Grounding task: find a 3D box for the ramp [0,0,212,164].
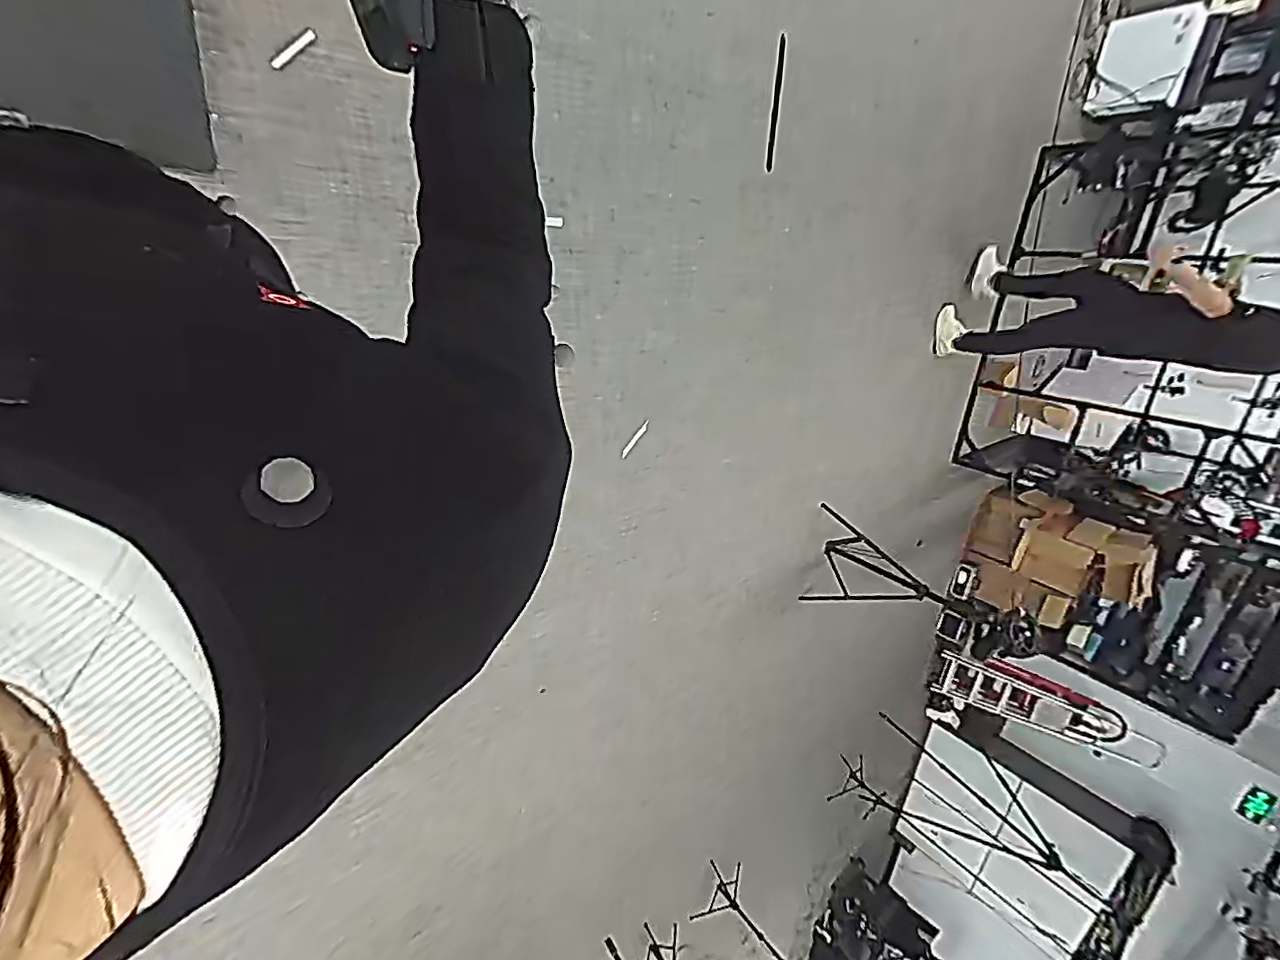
[{"bbox_3d":[-0.913,-0.996,0.665,0.509,0.206,0.991,-13,118,-37],"label":"ramp"}]
